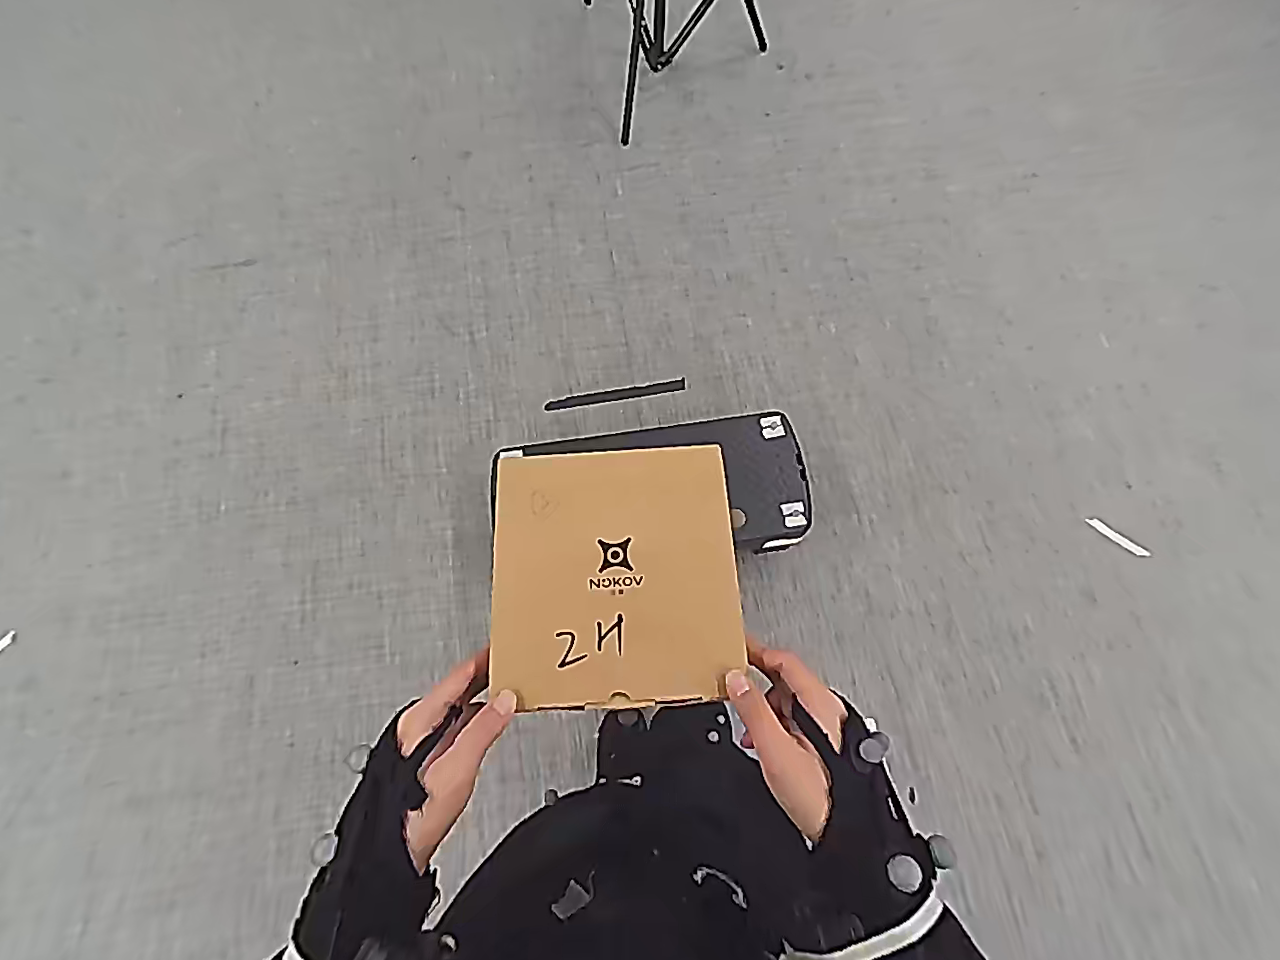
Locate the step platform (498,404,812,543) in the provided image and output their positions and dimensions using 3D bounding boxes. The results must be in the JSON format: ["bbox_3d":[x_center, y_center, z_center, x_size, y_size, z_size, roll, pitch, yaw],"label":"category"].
[{"bbox_3d":[0.030,0.026,1.223,0.684,0.204,0.286,-9,73,-2],"label":"step platform"}]

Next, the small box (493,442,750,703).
[{"bbox_3d":[-0.013,0.085,0.445,0.168,0.176,0.179,-3,68,1],"label":"small box"}]
